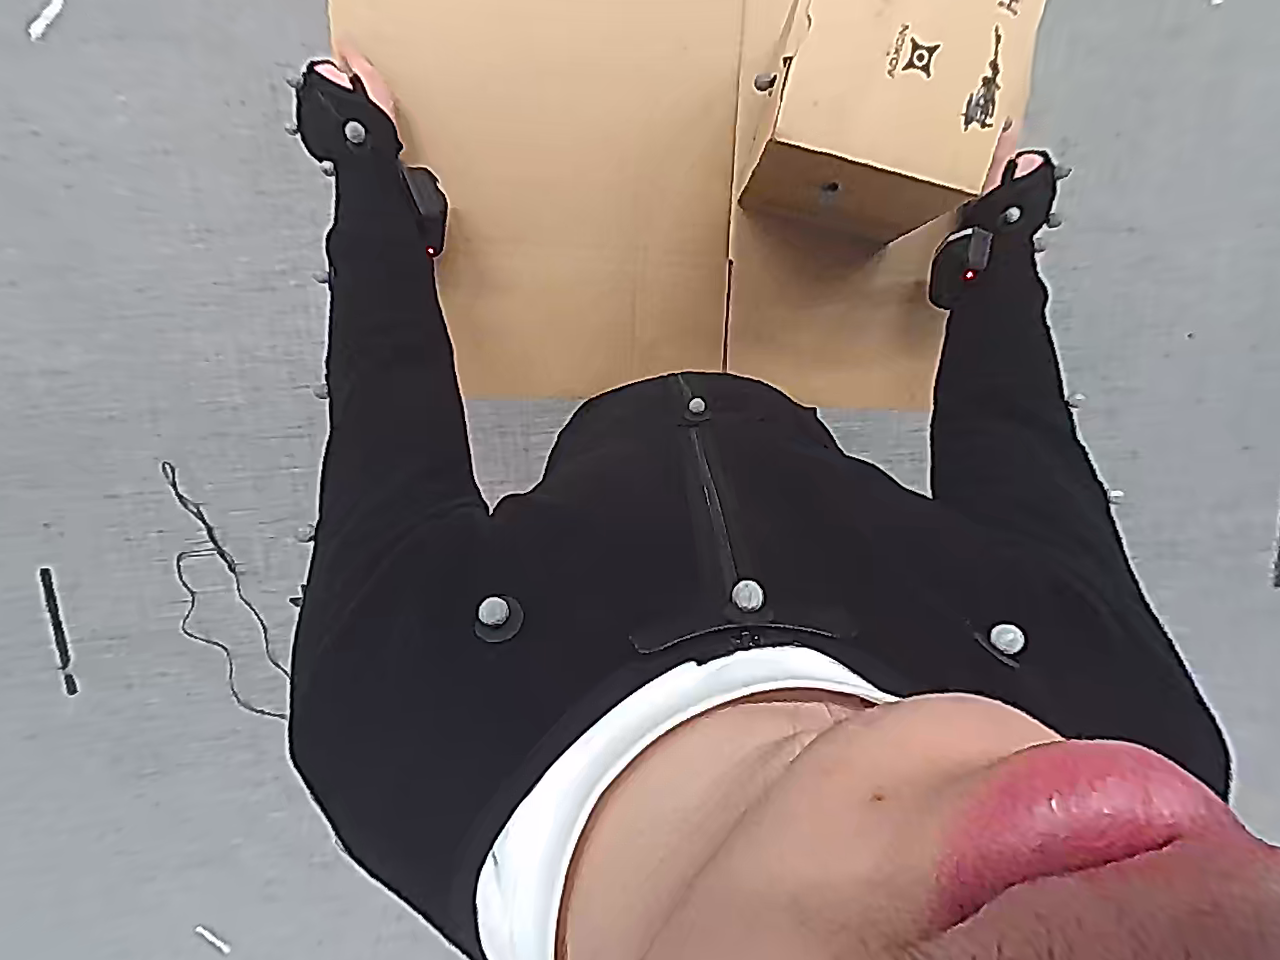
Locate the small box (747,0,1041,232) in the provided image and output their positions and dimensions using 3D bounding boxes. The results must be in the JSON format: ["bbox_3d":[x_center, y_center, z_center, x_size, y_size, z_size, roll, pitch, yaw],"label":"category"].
[{"bbox_3d":[0.209,-0.346,0.495,0.179,0.176,0.168,14,102,-1],"label":"small box"}]
